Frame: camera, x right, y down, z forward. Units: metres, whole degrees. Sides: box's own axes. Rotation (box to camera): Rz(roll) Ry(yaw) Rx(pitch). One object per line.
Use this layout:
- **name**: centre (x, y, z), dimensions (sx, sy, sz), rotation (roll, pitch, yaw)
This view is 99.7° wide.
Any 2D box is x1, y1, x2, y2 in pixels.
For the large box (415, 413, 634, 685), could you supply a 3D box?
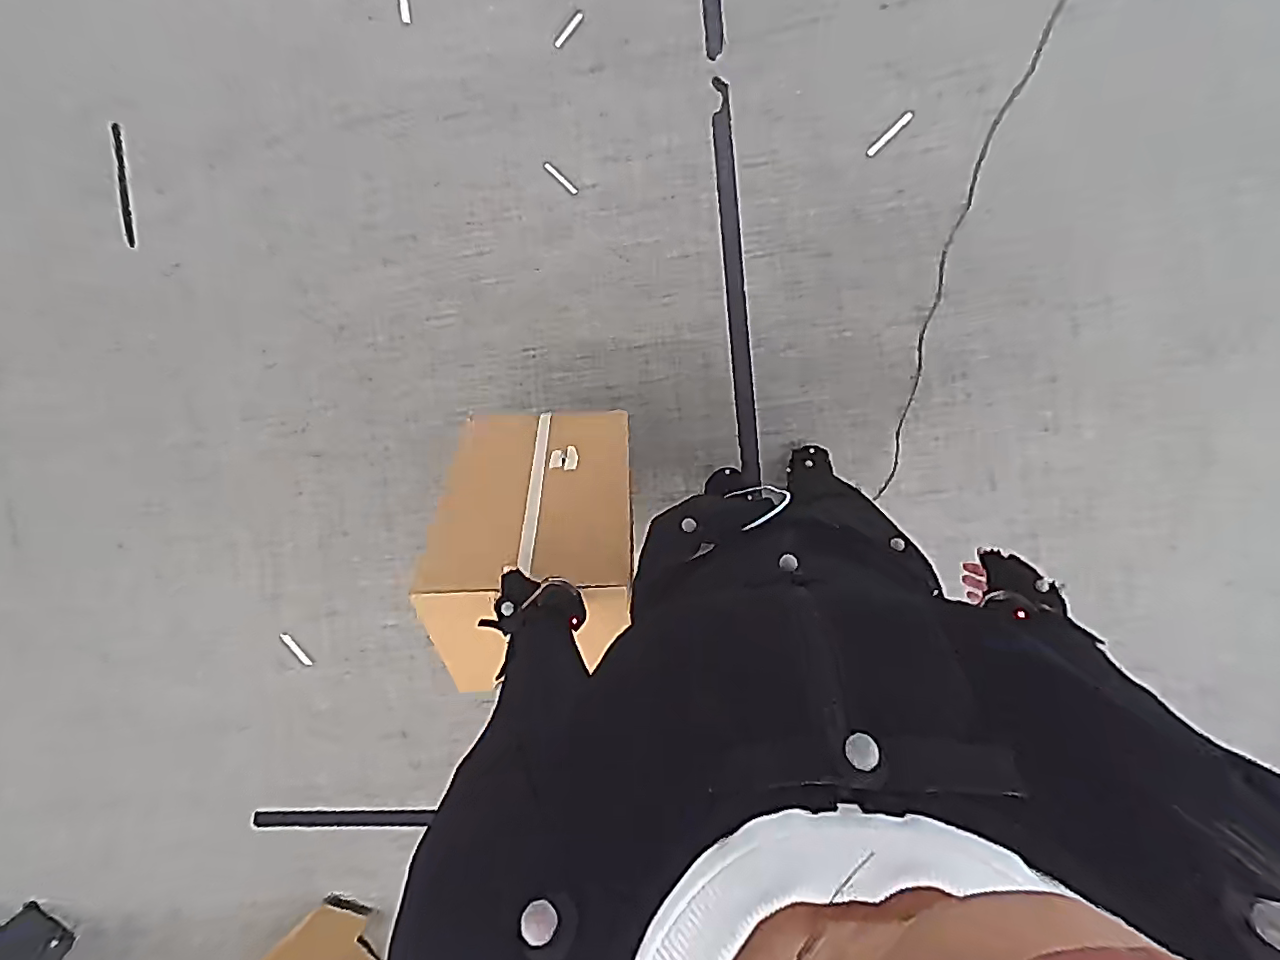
- **large box**: centre (-0.174, 0.121, 1.012), dimensions (0.320, 0.408, 0.320), rotation (-1, 134, -1)
